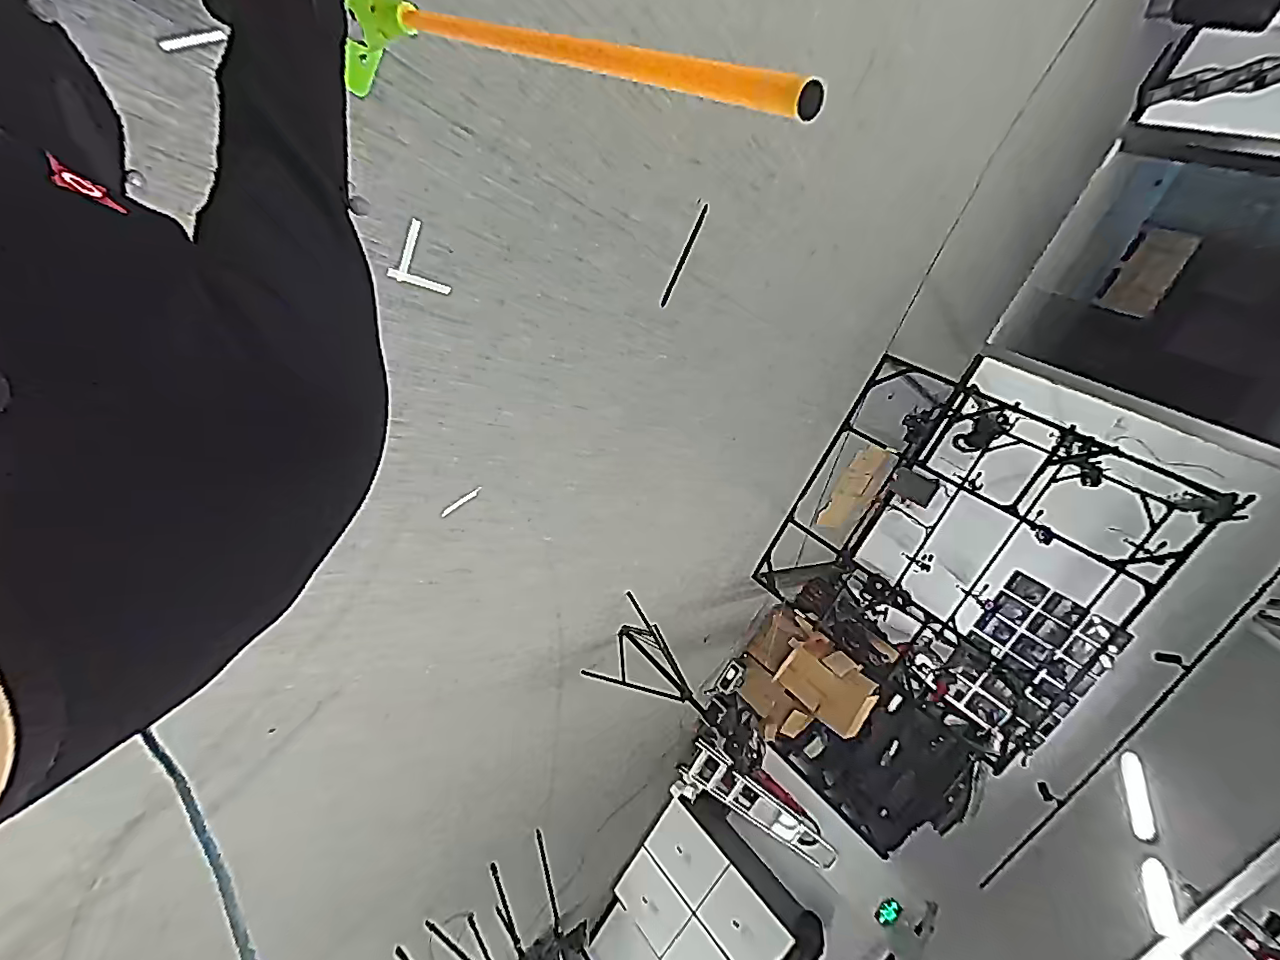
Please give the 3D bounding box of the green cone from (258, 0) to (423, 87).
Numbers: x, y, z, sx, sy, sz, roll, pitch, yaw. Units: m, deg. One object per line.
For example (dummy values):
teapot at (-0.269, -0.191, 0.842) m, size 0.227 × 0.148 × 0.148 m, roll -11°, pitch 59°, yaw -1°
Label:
green cone at (-0.494, -0.836, 0.964) m, size 0.202 × 0.368 × 0.200 m, roll 10°, pitch 113°, yaw -55°
